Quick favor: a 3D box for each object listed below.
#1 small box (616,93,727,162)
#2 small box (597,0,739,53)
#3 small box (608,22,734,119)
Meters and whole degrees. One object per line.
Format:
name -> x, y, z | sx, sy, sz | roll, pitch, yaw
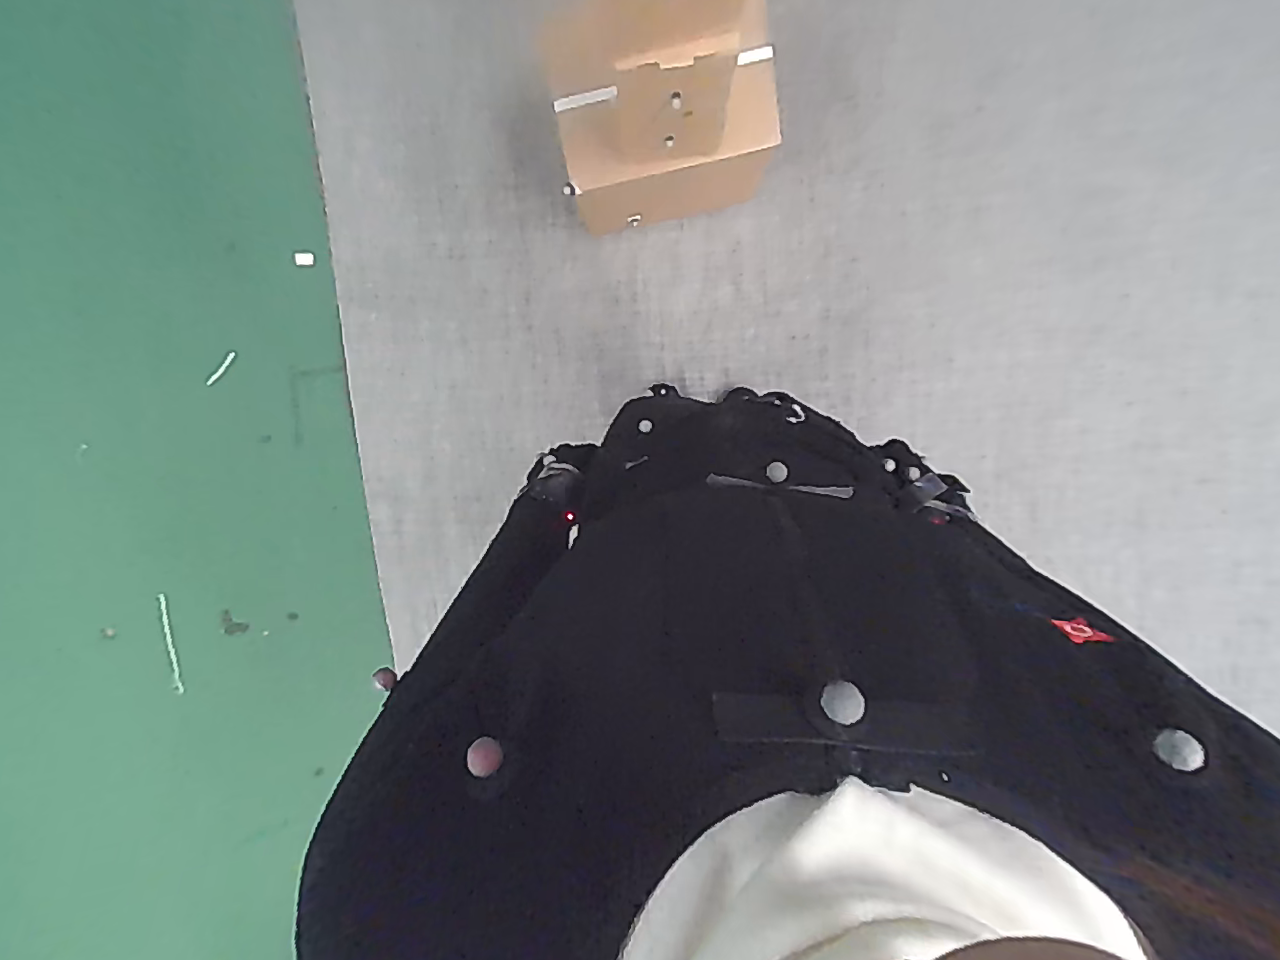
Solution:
small box -> 0.049, -0.673, 0.929 | 0.179, 0.176, 0.168 | -4, 100, 5
small box -> 0.024, -0.627, 0.607 | 0.179, 0.176, 0.168 | -10, 101, 4
small box -> 0.040, -0.643, 0.769 | 0.168, 0.176, 0.179 | -5, 101, 4
